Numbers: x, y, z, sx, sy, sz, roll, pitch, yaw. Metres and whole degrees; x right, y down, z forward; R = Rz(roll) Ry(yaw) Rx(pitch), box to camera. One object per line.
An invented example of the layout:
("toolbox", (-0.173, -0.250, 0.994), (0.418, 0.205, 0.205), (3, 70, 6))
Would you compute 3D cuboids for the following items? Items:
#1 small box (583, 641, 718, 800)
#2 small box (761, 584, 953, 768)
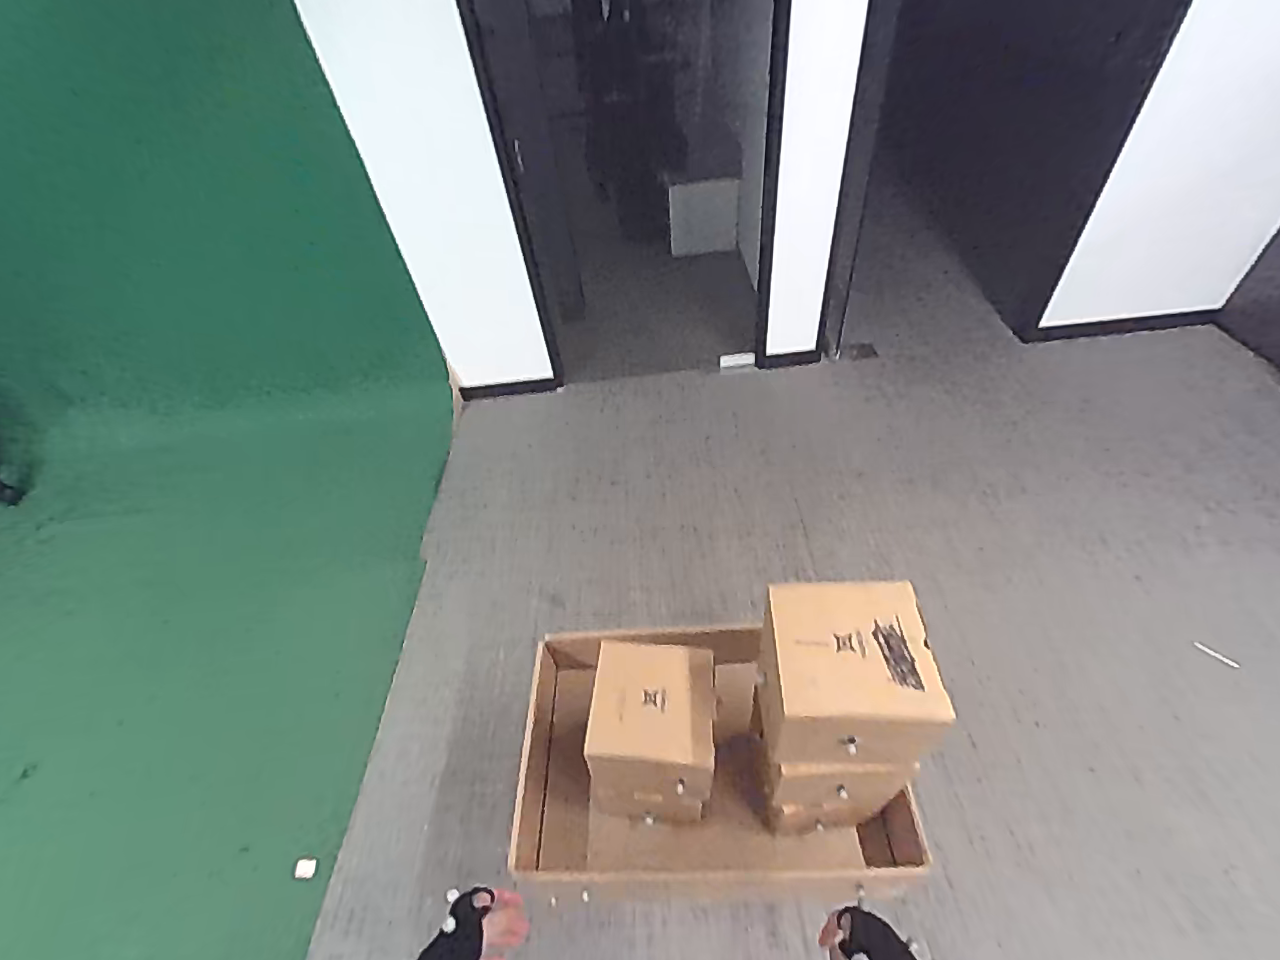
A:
("small box", (0.023, 0.366, 0.818), (0.179, 0.176, 0.168), (3, 45, 7))
("small box", (0.250, 0.245, 0.674), (0.179, 0.176, 0.168), (-2, 46, 7))
